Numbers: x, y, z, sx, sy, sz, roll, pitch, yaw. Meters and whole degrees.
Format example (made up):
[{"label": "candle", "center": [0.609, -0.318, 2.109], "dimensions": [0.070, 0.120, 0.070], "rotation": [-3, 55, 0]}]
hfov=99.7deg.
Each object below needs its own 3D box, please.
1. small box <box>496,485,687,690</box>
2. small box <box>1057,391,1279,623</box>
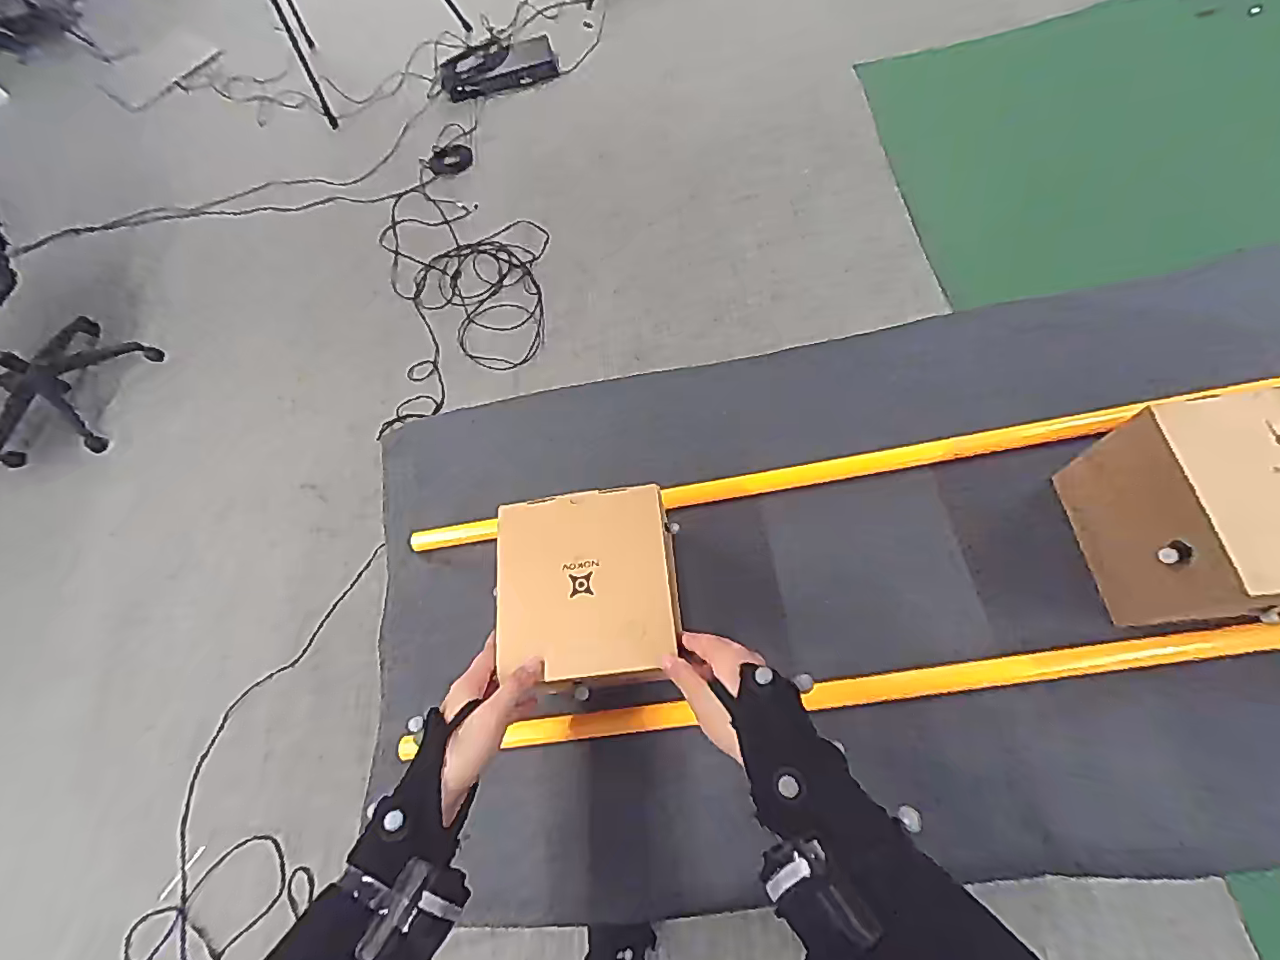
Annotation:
[{"label": "small box", "center": [-0.044, 0.125, 0.578], "dimensions": [0.168, 0.176, 0.179], "rotation": [-9, 65, 4]}, {"label": "small box", "center": [0.548, 0.035, 0.510], "dimensions": [0.168, 0.176, 0.179], "rotation": [-7, 66, 8]}]
